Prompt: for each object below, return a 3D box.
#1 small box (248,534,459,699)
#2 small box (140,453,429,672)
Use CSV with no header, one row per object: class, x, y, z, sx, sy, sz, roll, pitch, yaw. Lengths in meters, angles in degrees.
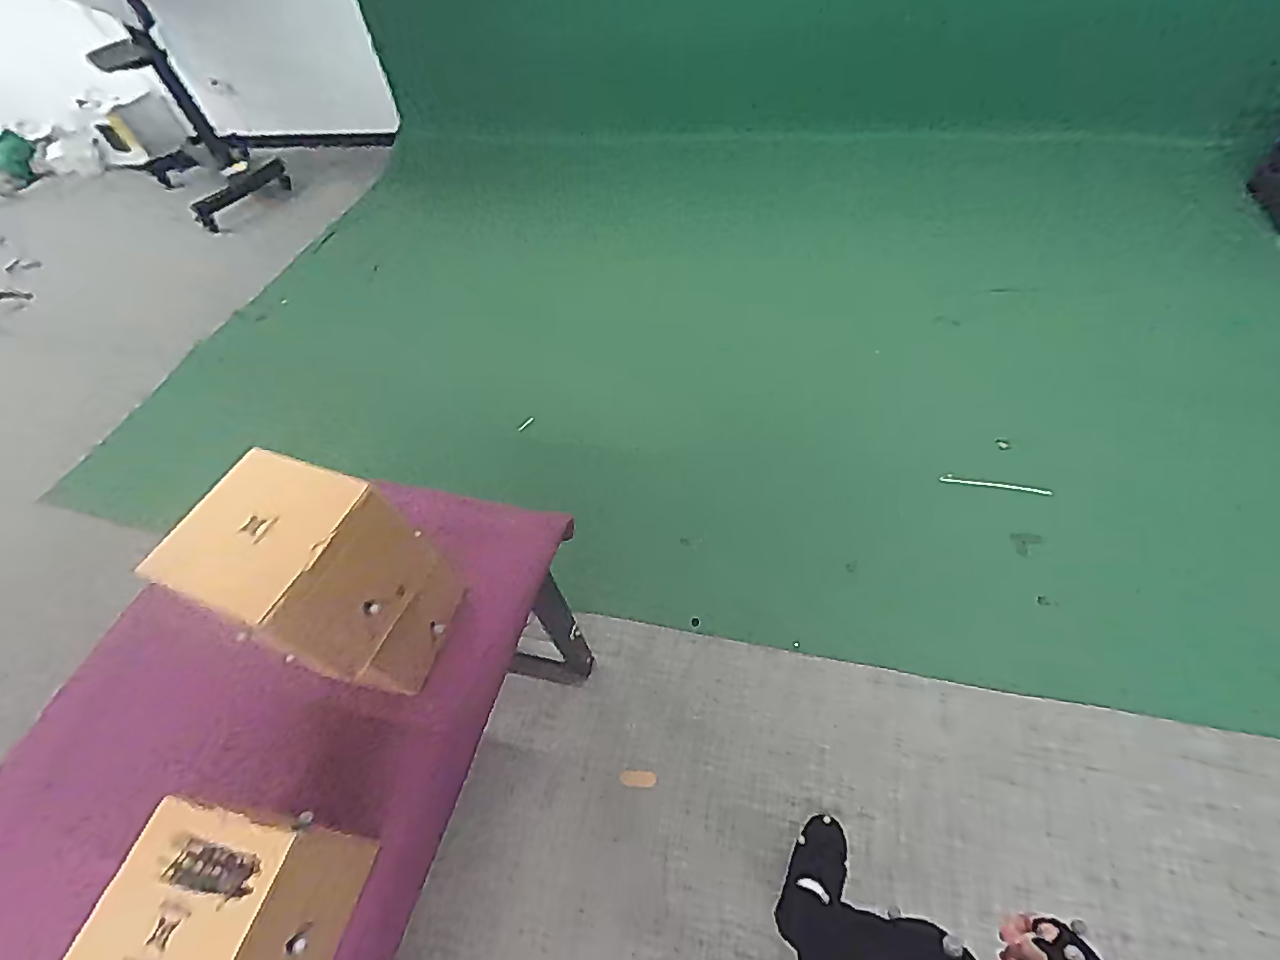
small box,-0.379,0.183,0.759,0.168,0.176,0.179,6,54,14
small box,-0.383,0.097,0.617,0.179,0.176,0.168,14,57,17
